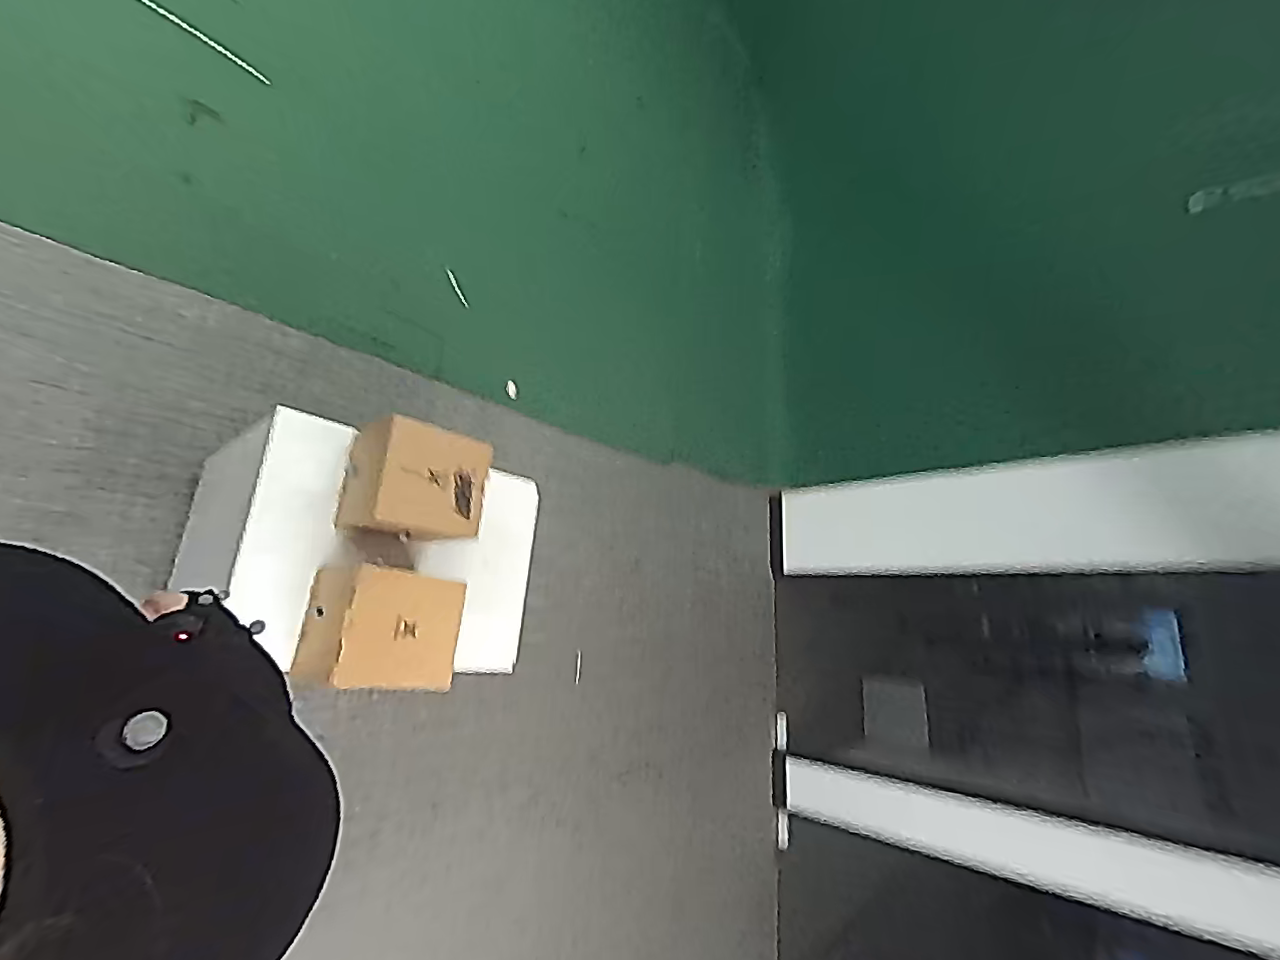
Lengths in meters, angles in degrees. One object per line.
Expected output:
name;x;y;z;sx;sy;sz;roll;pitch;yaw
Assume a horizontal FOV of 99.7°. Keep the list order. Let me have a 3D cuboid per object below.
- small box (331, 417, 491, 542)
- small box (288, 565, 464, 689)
small box;-0.385;0.009;0.914;0.179;0.176;0.168;21;69;-44
small box;-0.411;0.229;0.848;0.179;0.176;0.168;23;66;-44
